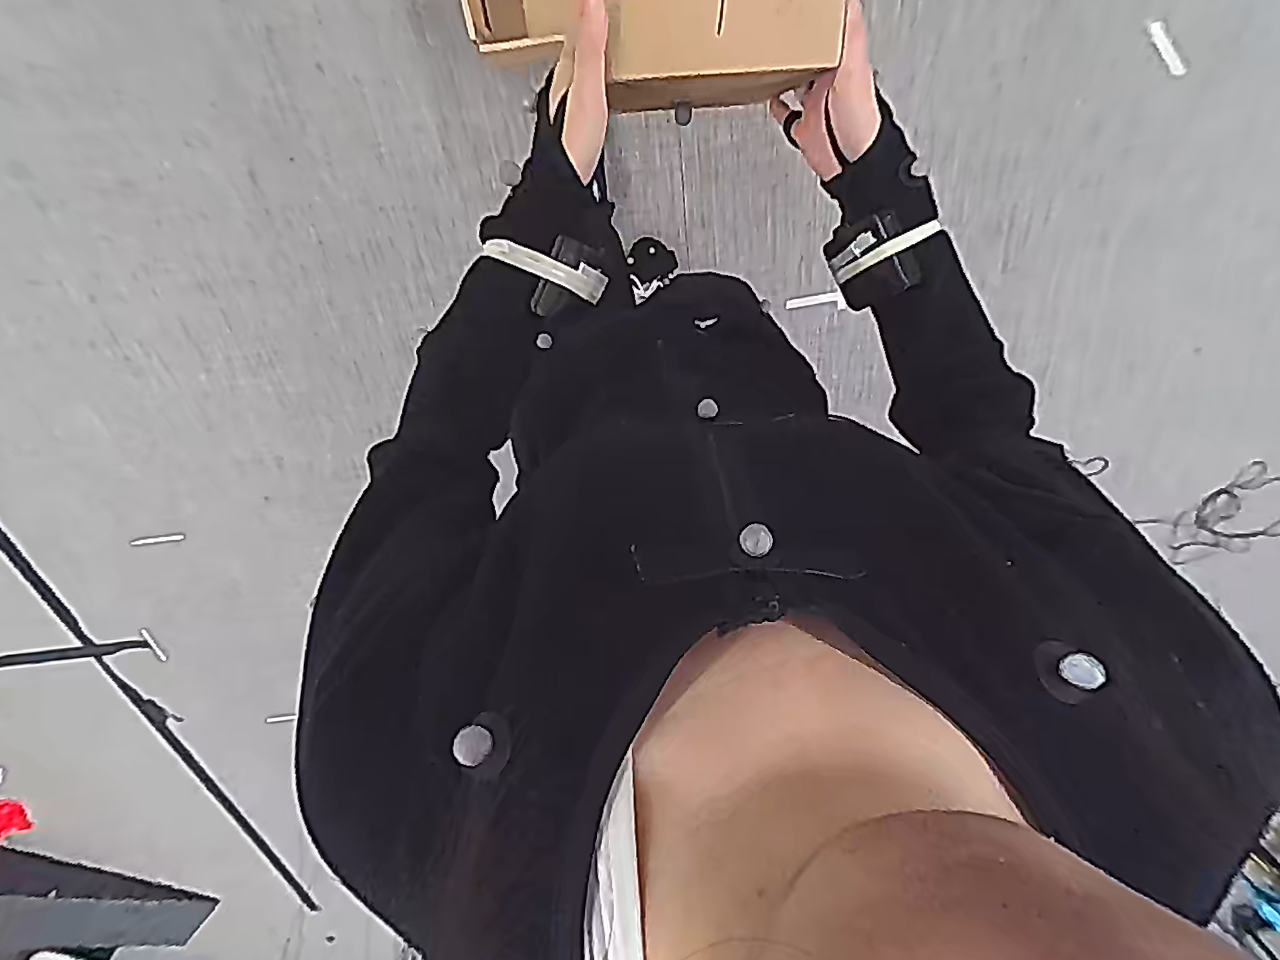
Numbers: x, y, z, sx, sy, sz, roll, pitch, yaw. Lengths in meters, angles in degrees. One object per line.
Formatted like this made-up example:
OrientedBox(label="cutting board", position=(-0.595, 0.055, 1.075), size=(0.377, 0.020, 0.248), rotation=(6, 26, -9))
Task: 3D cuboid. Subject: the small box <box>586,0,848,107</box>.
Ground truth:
OrientedBox(label="small box", position=(0.043, -0.390, 0.391), size=(0.168, 0.176, 0.179), rotation=(-6, 119, -4))
